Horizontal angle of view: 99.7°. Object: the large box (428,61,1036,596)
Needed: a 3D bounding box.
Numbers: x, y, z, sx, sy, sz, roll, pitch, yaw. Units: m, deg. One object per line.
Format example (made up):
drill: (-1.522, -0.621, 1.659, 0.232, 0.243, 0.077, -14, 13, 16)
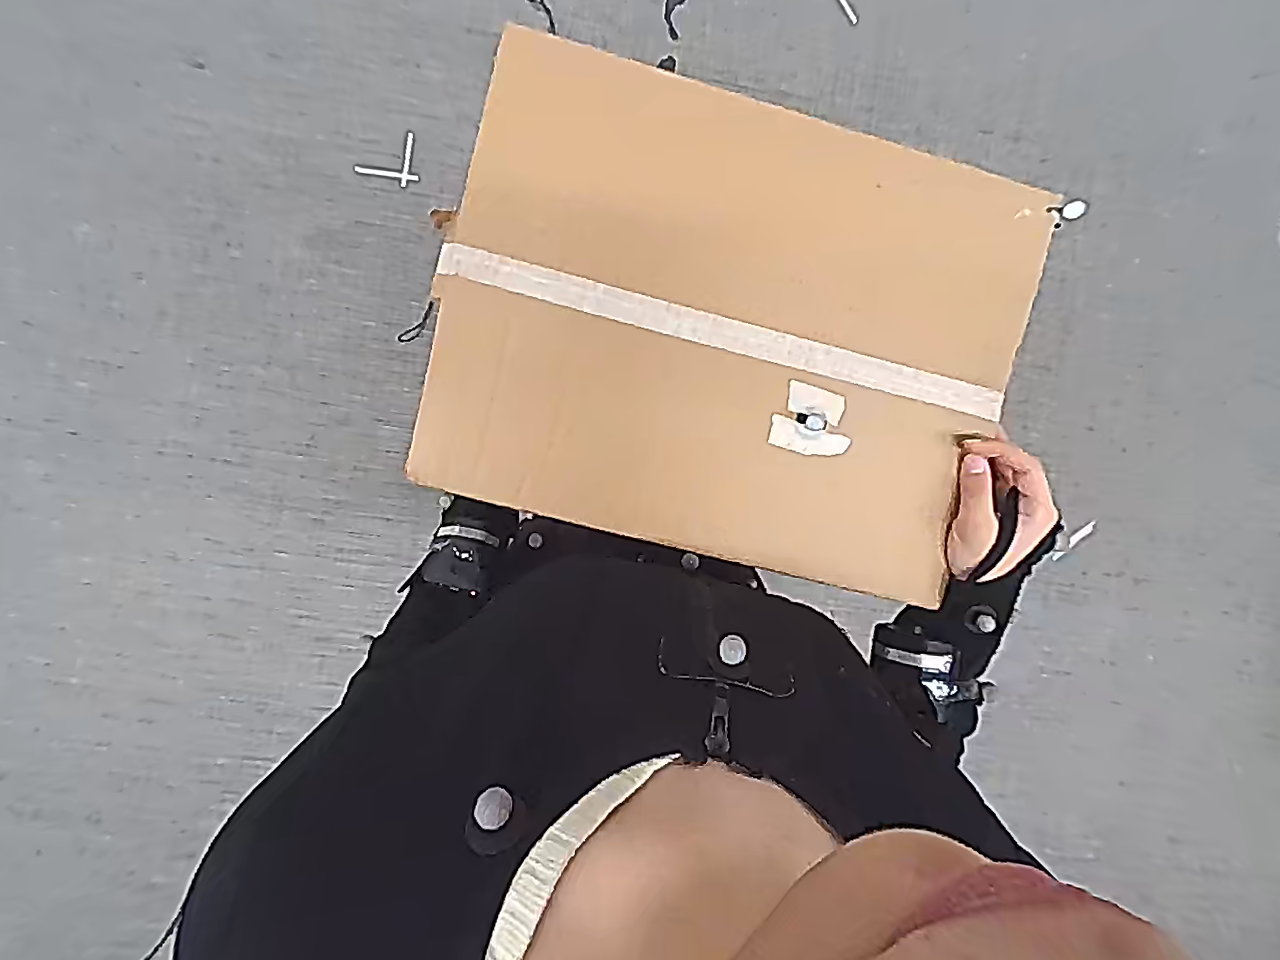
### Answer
large box: (0.058, -0.109, 0.540, 0.408, 0.320, 0.320, 13, 95, -5)
